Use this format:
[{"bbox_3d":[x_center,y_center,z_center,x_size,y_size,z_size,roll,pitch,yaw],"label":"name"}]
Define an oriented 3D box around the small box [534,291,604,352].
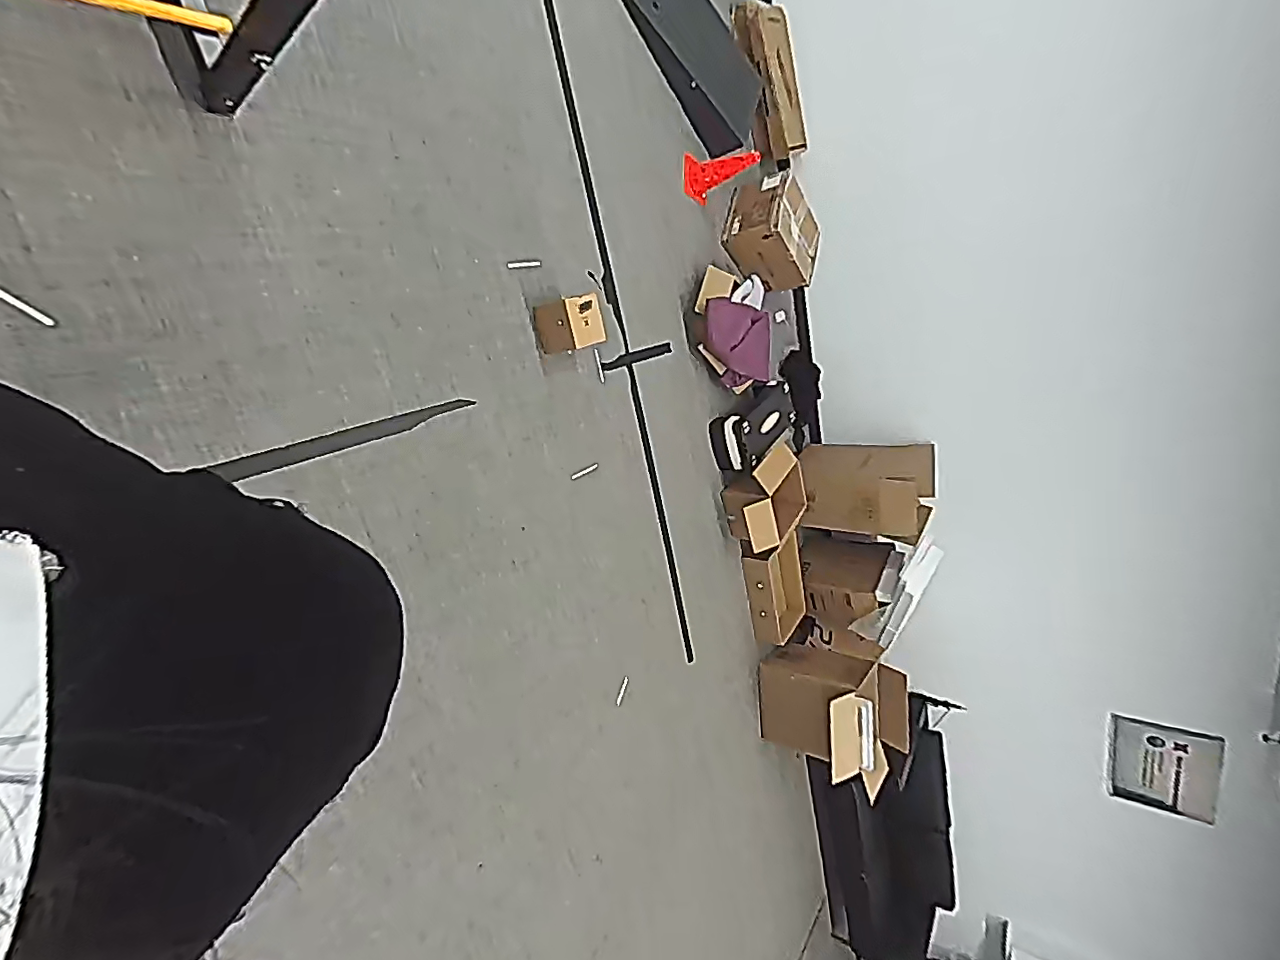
[{"bbox_3d":[-0.262,-0.577,1.976,0.168,0.176,0.179,-33,117,-45],"label":"small box"}]
